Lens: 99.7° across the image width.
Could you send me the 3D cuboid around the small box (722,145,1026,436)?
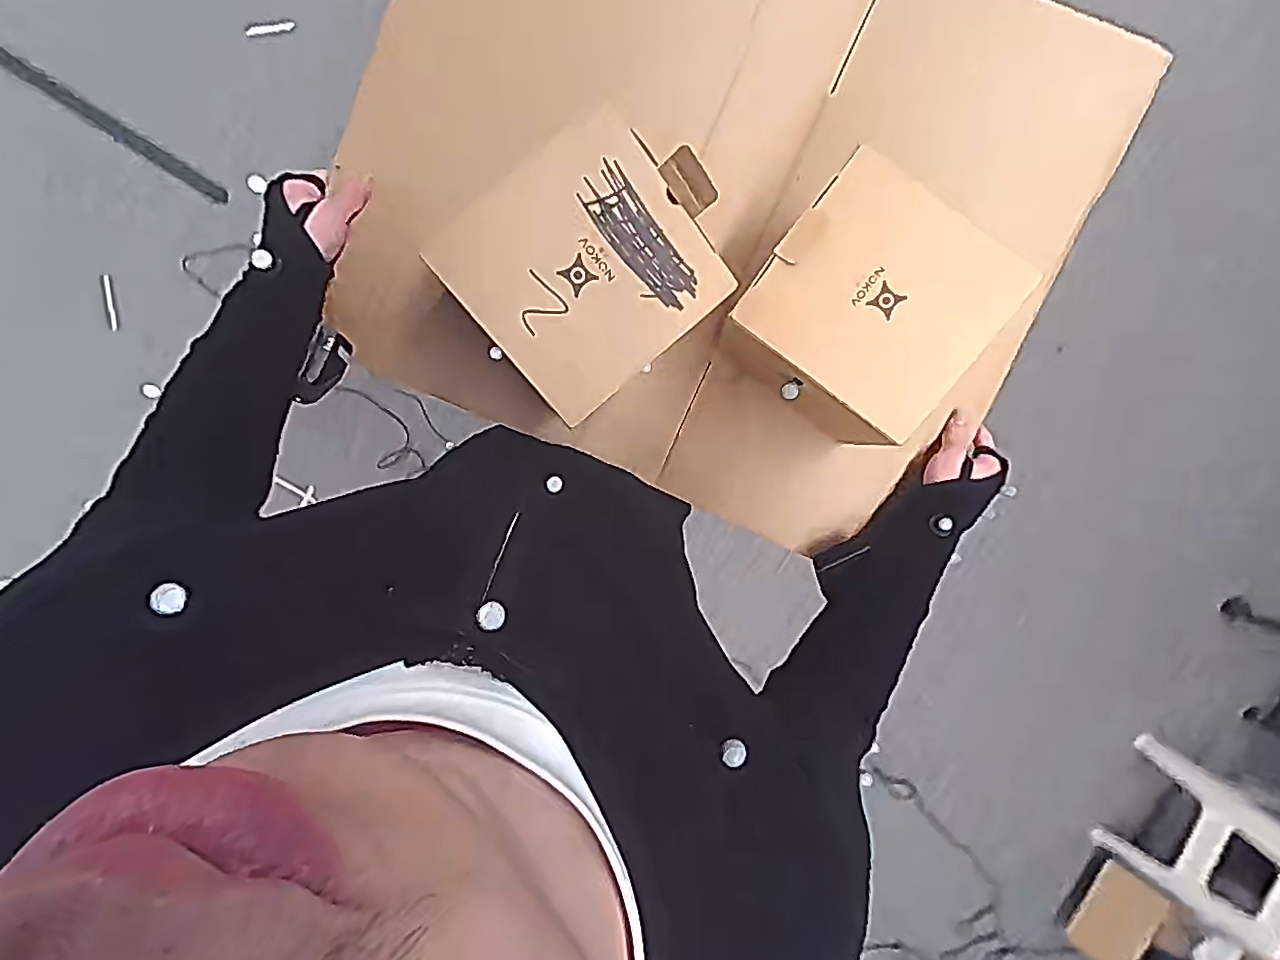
[{"bbox_3d":[0.195,-0.158,0.512,0.179,0.176,0.168,37,97,3],"label":"small box"}]
